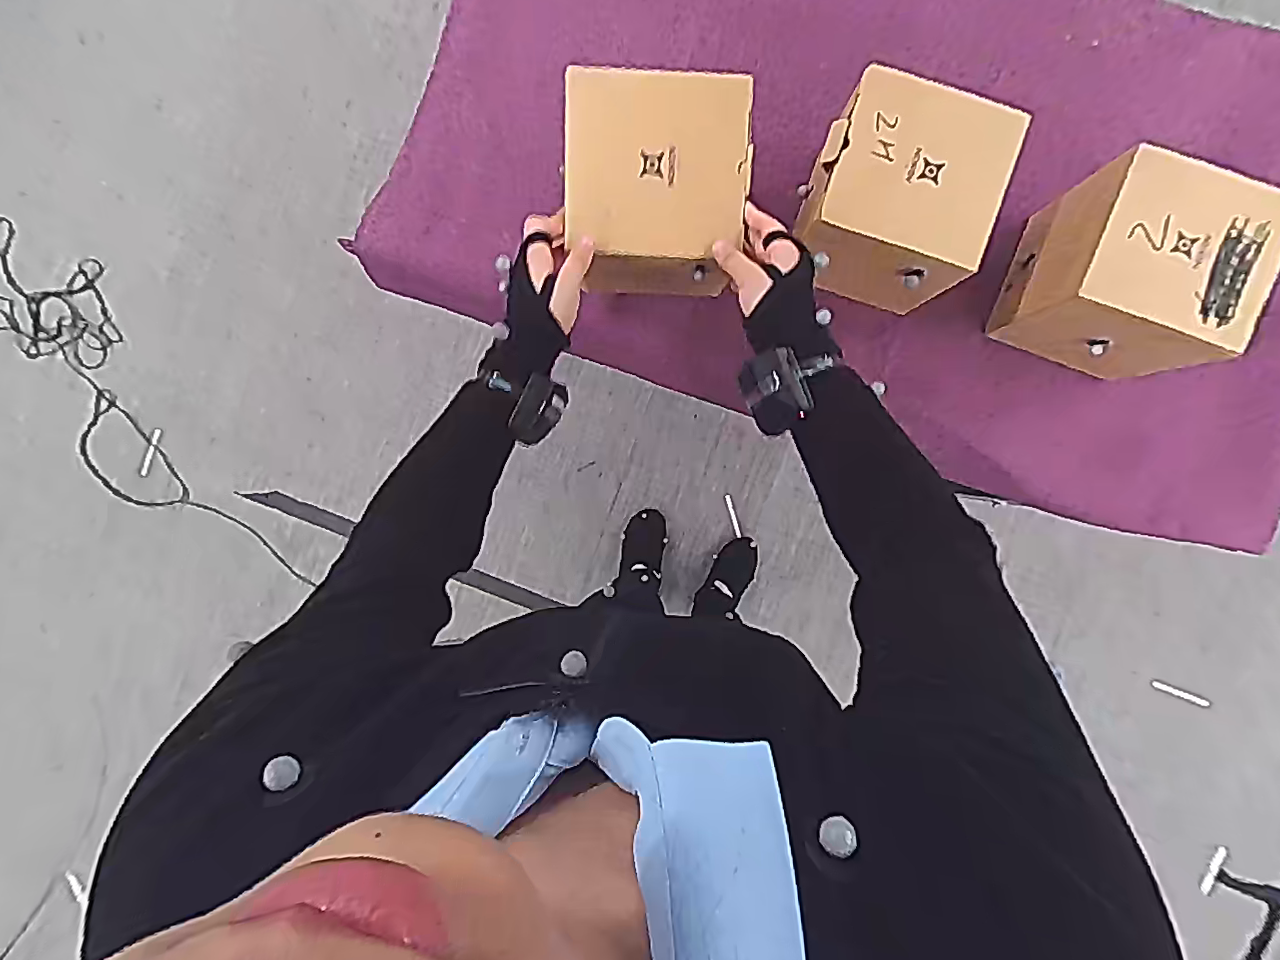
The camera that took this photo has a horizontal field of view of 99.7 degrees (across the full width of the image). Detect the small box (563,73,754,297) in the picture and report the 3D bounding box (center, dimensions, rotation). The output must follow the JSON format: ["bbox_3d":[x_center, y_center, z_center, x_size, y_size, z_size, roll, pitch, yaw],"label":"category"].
[{"bbox_3d":[0.016,-0.298,0.581,0.179,0.176,0.168,0,98,-1],"label":"small box"}]

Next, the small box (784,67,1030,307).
[{"bbox_3d":[0.290,-0.319,0.630,0.179,0.176,0.168,18,92,1],"label":"small box"}]
